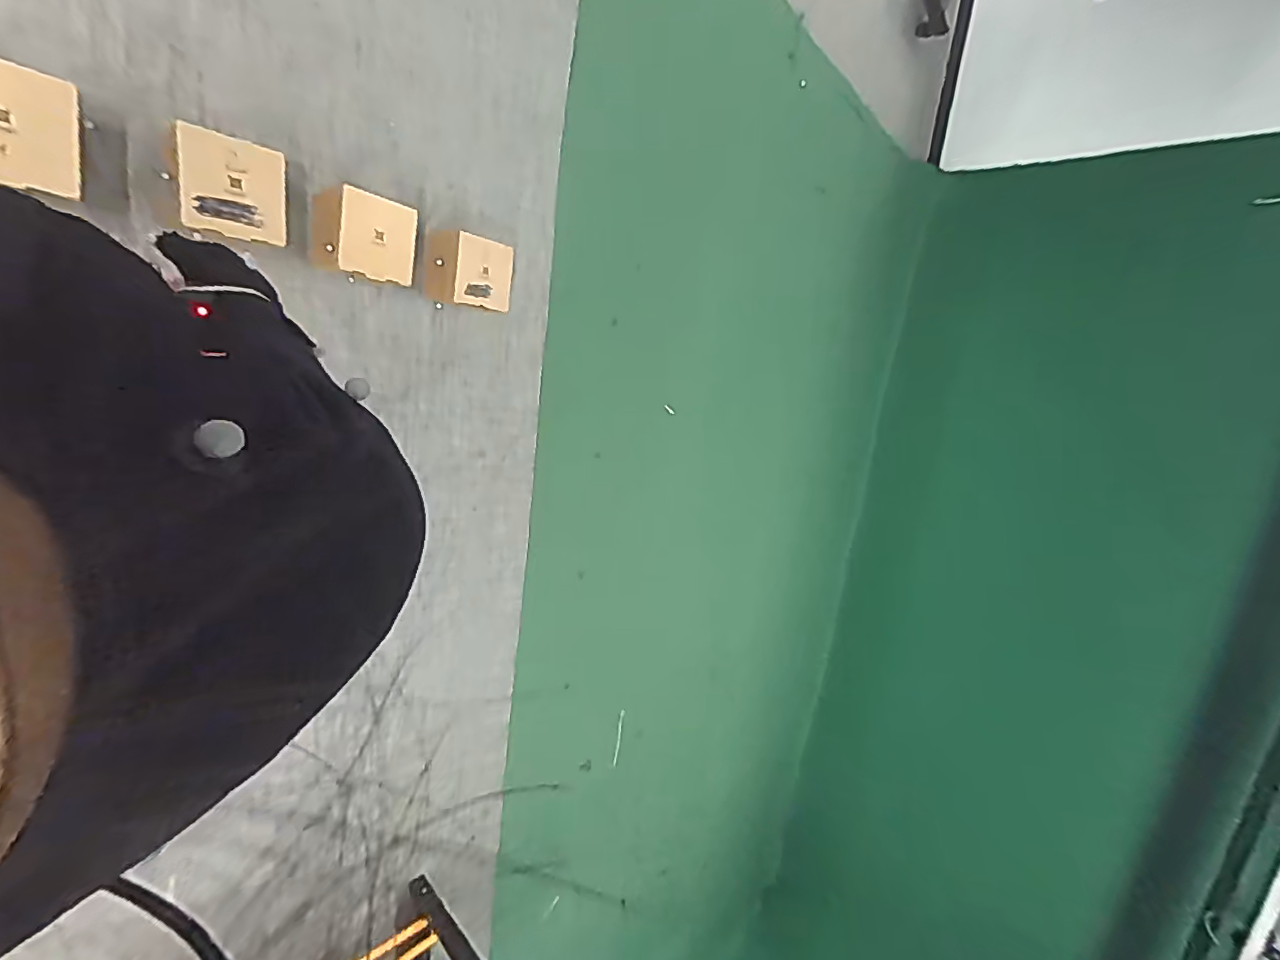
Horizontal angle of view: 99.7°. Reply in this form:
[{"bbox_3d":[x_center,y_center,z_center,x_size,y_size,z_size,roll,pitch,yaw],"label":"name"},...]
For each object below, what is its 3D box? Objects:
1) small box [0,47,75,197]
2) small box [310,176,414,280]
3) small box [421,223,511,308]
[{"bbox_3d":[-1.014,-0.569,0.850,0.168,0.176,0.179,-2,106,-47],"label":"small box"},{"bbox_3d":[-0.651,-0.578,1.263,0.168,0.176,0.179,-2,106,-49],"label":"small box"},{"bbox_3d":[-0.475,-0.575,1.466,0.168,0.176,0.179,-3,105,-48],"label":"small box"}]
